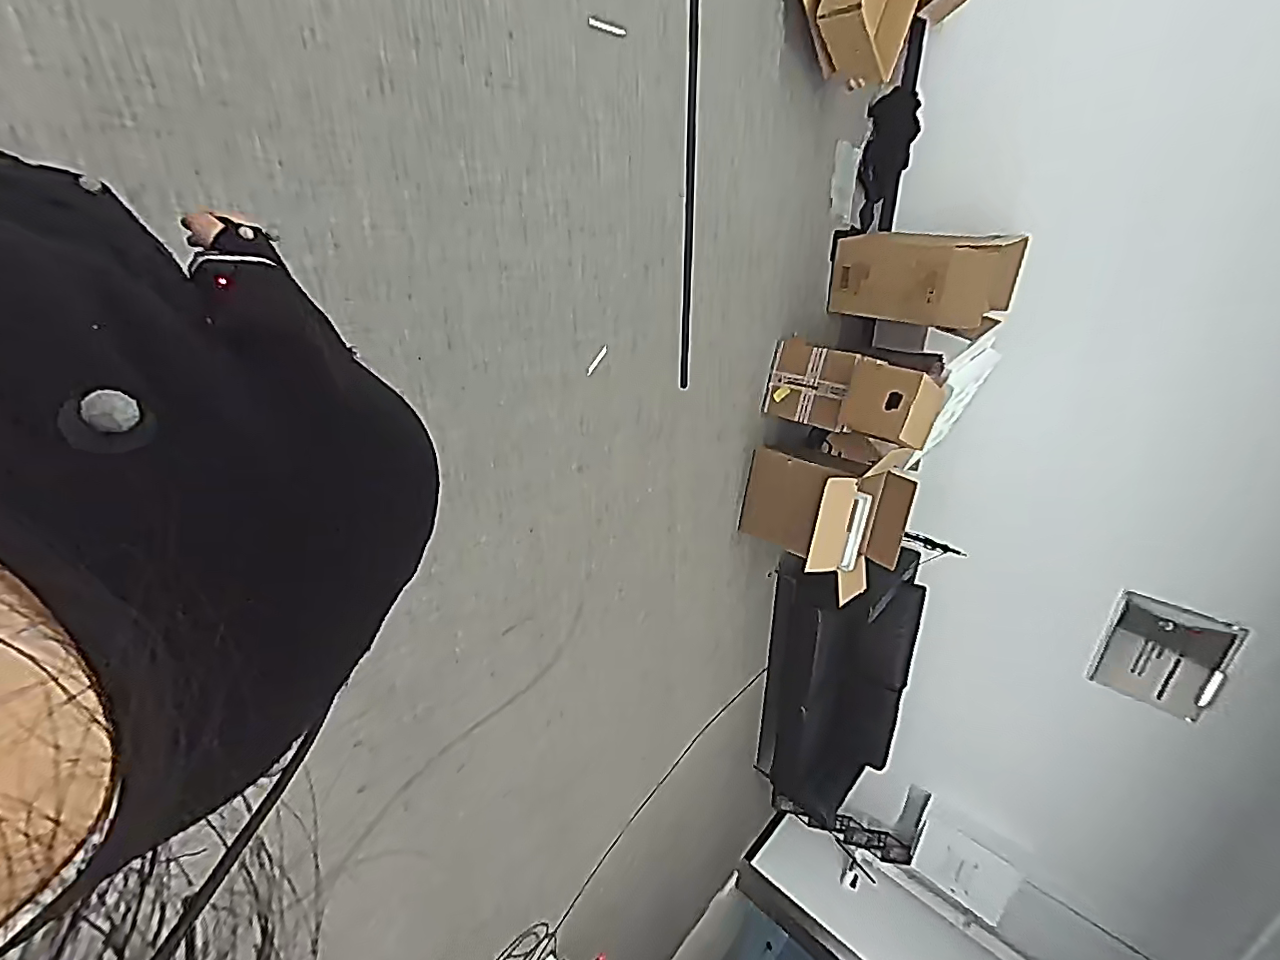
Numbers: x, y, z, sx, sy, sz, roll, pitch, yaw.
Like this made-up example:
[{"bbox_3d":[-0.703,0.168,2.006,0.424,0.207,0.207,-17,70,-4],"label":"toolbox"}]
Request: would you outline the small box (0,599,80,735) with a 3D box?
[{"bbox_3d":[-1.229,0.363,1.039,0.168,0.176,0.179,-25,126,-40],"label":"small box"}]
